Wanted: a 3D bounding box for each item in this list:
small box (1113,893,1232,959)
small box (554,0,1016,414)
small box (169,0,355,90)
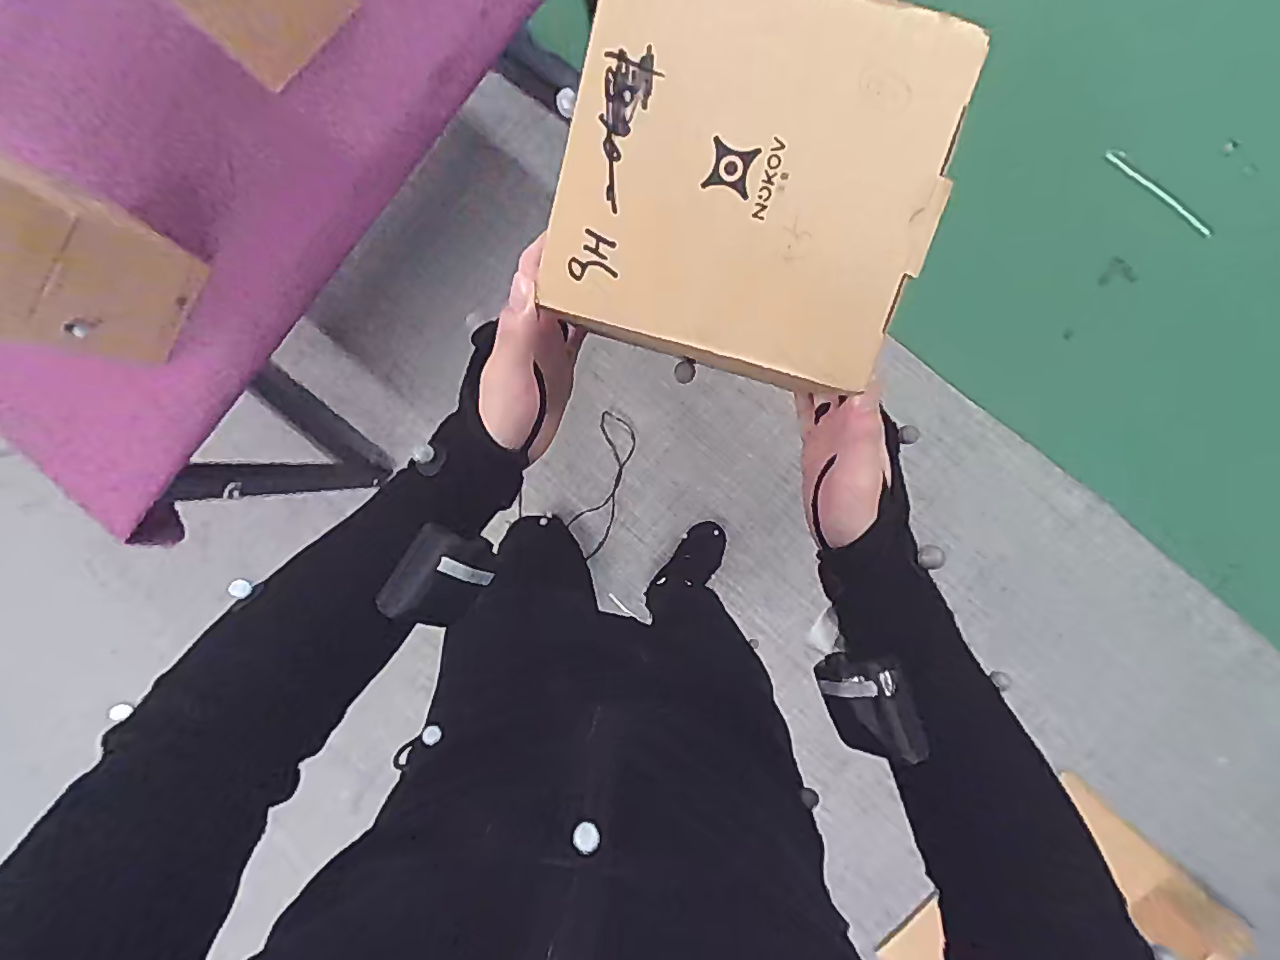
[{"bbox_3d":[1.274,1.138,1.265,0.168,0.176,0.179,43,95,2],"label":"small box"},{"bbox_3d":[0.065,-0.149,0.332,0.179,0.176,0.168,17,100,-1],"label":"small box"},{"bbox_3d":[-0.501,-0.646,0.668,0.179,0.176,0.168,-43,88,5],"label":"small box"}]
